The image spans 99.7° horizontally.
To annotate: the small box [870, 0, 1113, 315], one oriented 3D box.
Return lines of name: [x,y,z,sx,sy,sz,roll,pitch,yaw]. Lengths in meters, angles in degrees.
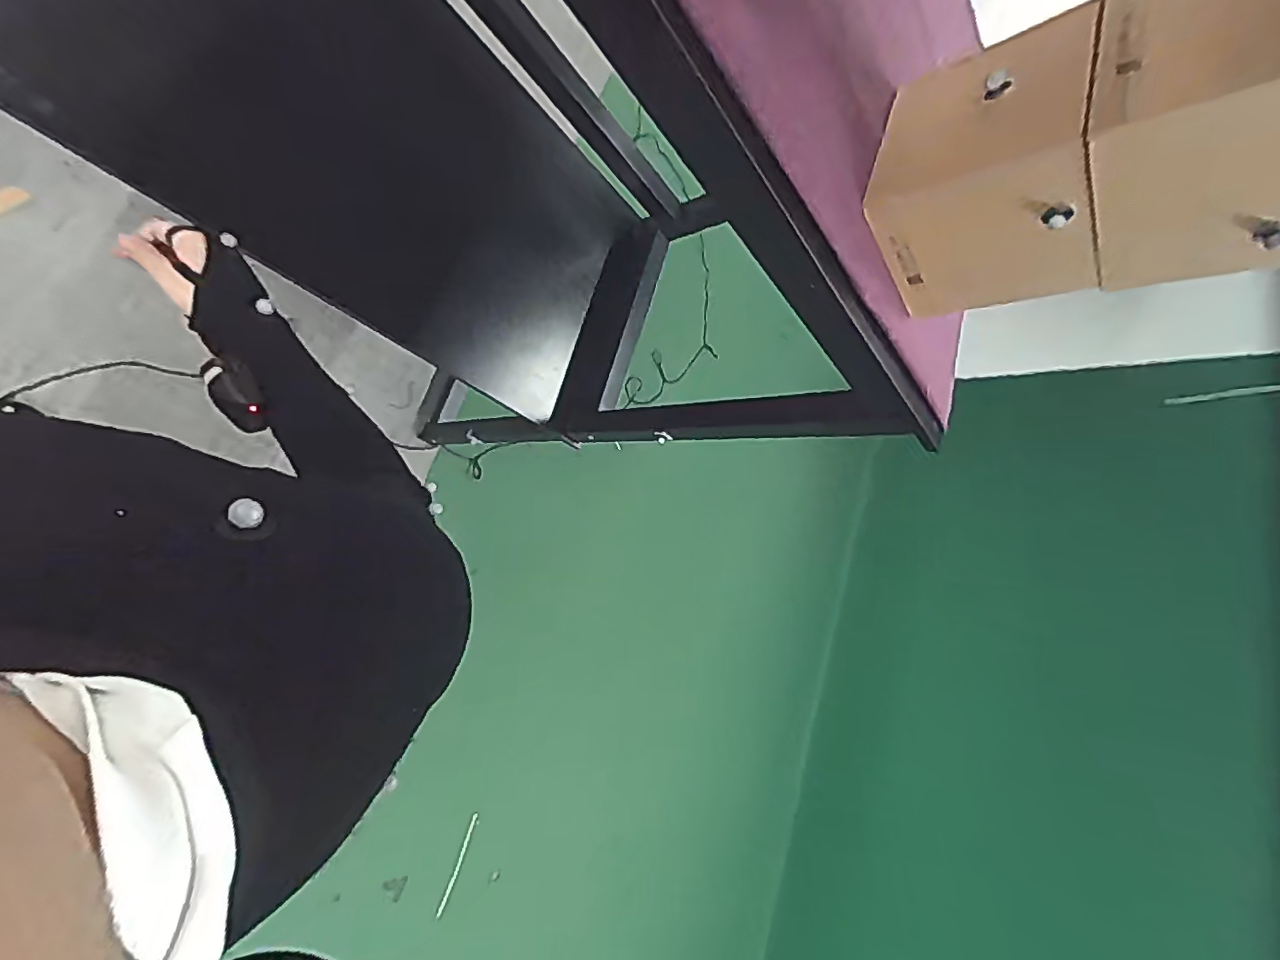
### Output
small box: [0.344,-0.291,0.530,0.168,0.176,0.179,36,67,-40]
